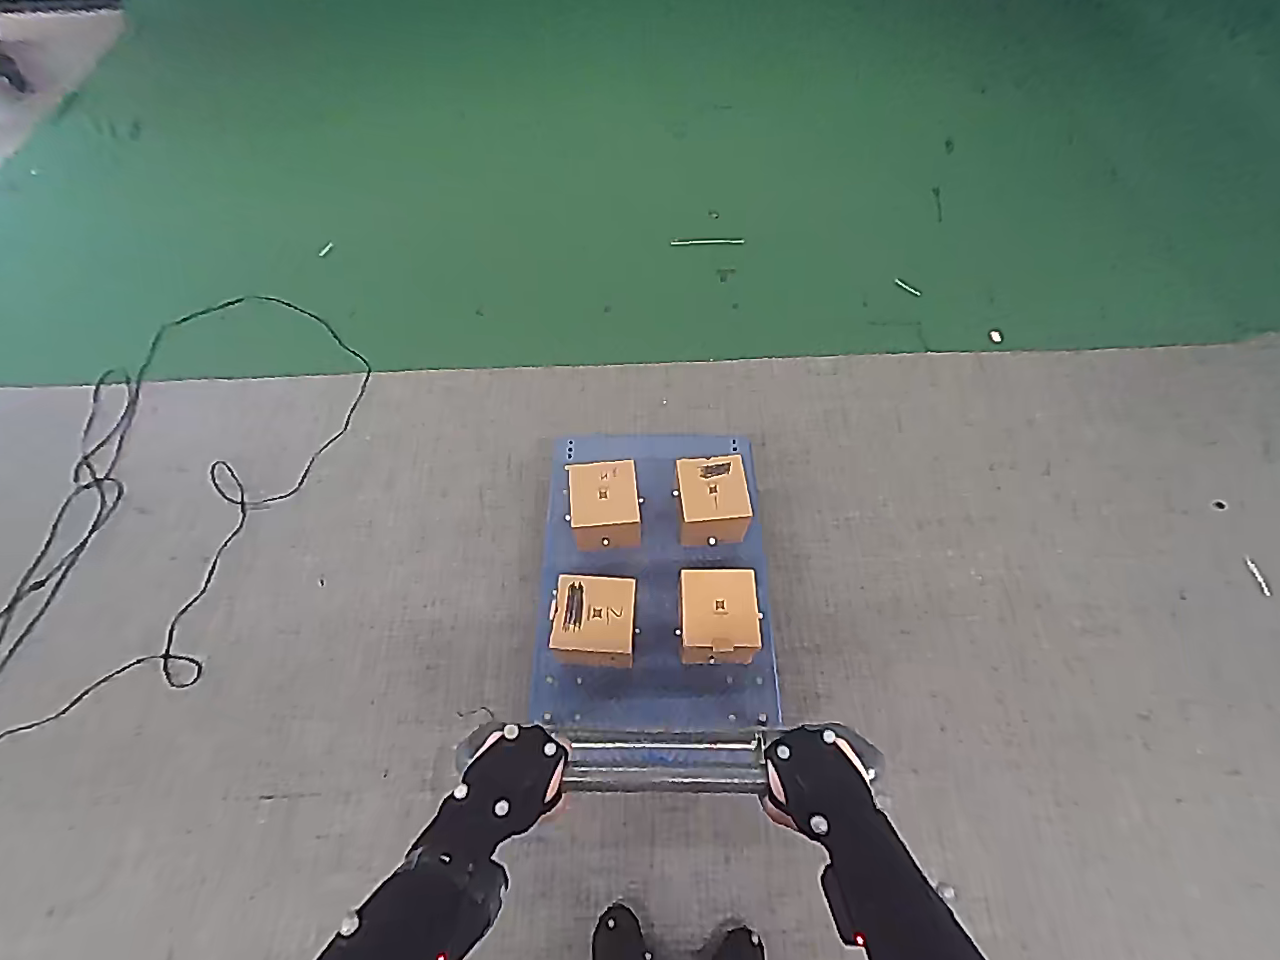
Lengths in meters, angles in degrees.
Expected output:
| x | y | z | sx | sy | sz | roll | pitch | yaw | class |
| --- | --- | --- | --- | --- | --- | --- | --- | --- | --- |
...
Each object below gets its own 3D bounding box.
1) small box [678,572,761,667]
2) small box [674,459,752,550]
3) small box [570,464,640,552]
| x | y | z | sx | sy | sz | roll | pitch | yaw | class |
| --- | --- | --- | --- | --- | --- | --- | --- | --- | --- |
| 0.176 | 0.325 | 1.252 | 0.168 | 0.176 | 0.179 | 0 | 61 | 0 | small box |
| 0.181 | 0.066 | 1.396 | 0.168 | 0.176 | 0.179 | -5 | 61 | -2 | small box |
| -0.089 | 0.079 | 1.390 | 0.168 | 0.176 | 0.179 | -4 | 60 | -3 | small box |
